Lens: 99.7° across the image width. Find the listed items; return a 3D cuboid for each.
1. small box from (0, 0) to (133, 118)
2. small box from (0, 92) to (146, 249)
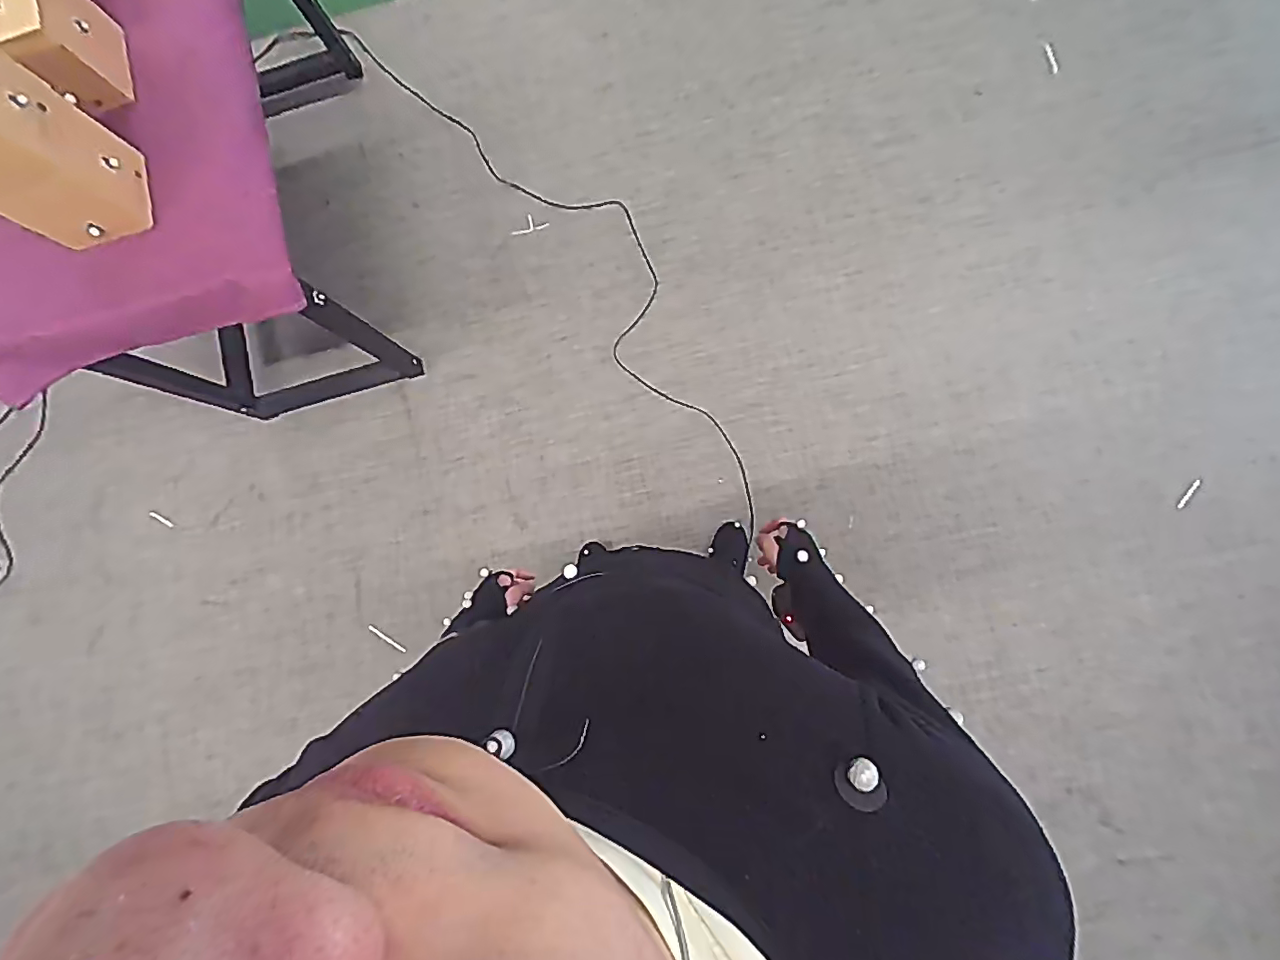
[{"bbox_3d":[-1.144,-0.847,1.045,0.168,0.176,0.179,-15,84,3],"label":"small box"},{"bbox_3d":[-1.074,-0.566,1.008,0.179,0.176,0.168,-15,82,2],"label":"small box"}]
